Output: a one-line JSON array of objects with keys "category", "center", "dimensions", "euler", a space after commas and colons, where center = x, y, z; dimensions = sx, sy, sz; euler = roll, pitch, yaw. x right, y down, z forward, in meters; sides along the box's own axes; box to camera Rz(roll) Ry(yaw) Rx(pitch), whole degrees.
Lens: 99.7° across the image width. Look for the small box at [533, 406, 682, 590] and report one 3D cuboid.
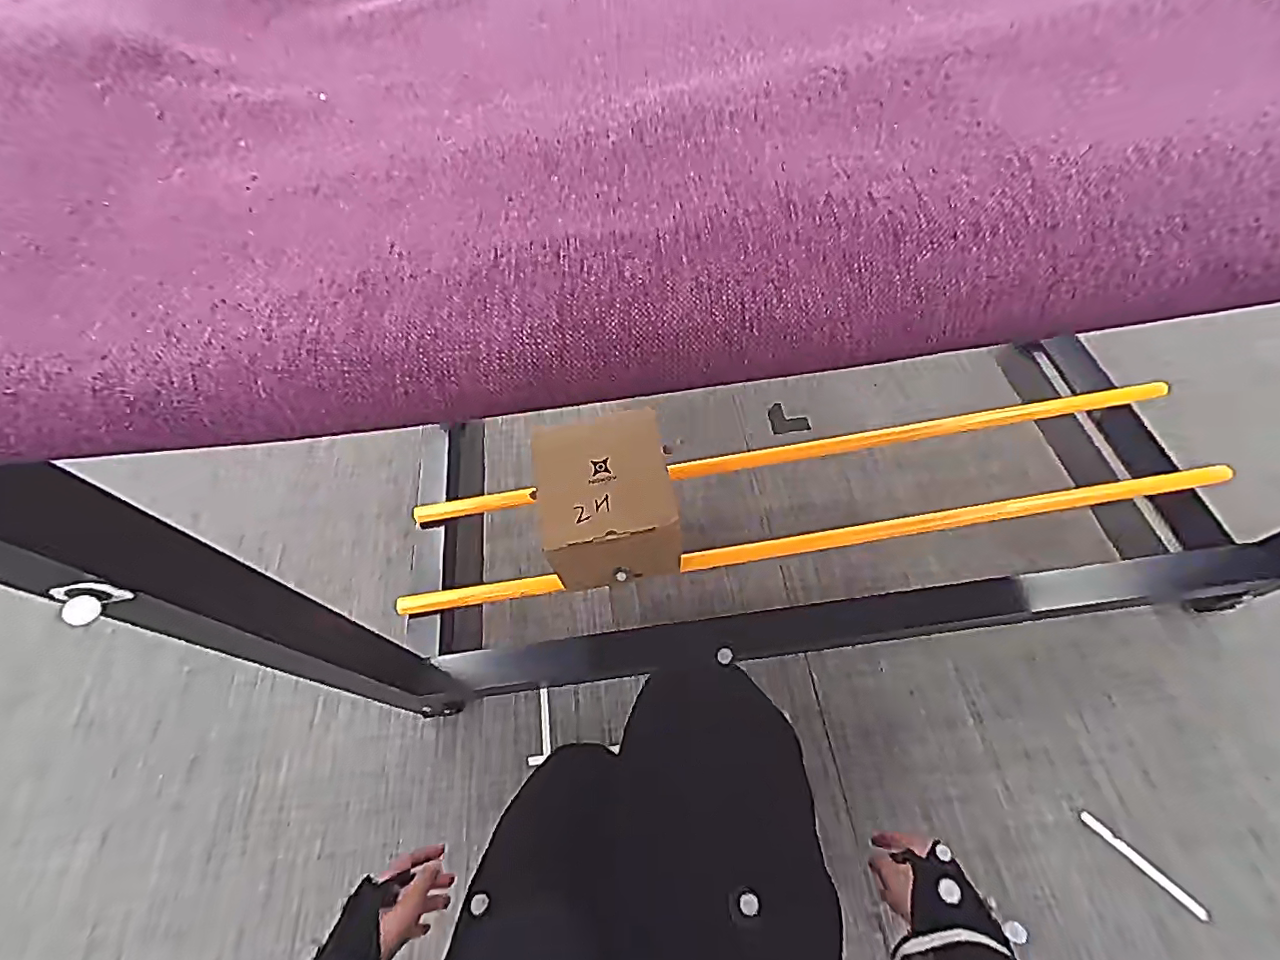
[{"category": "small box", "center": [-0.042, 0.029, 0.730], "dimensions": [0.168, 0.176, 0.179], "euler": [-11, 61, -1]}]
